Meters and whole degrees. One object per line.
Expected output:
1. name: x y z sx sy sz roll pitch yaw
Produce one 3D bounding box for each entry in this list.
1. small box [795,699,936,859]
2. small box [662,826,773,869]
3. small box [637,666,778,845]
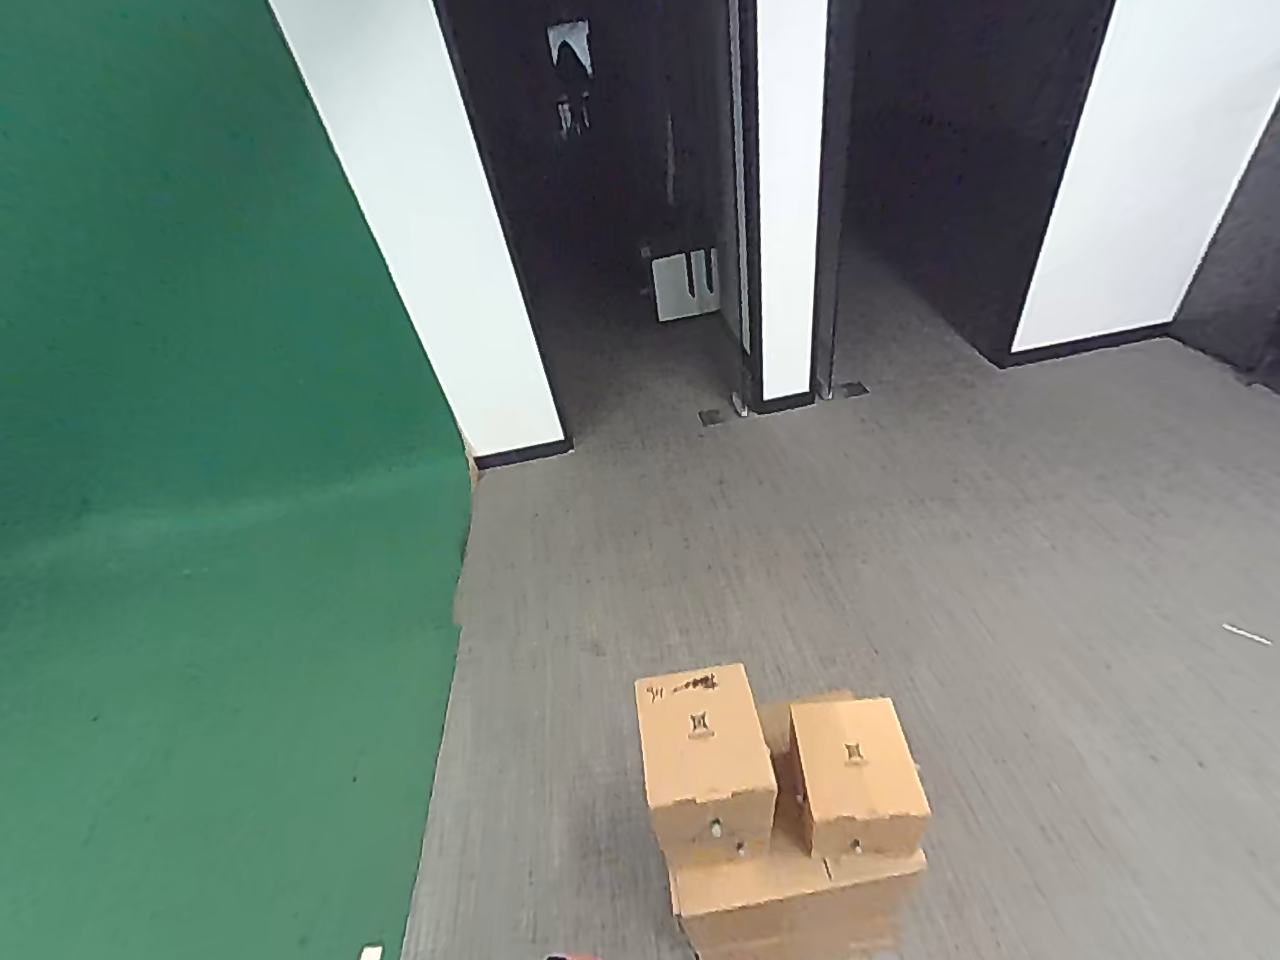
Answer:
1. small box: 0.349 0.484 0.878 0.168 0.176 0.179 -8 39 7
2. small box: 0.119 0.520 0.897 0.168 0.176 0.179 -9 39 1
3. small box: 0.095 0.403 0.784 0.168 0.176 0.179 -10 40 -1
